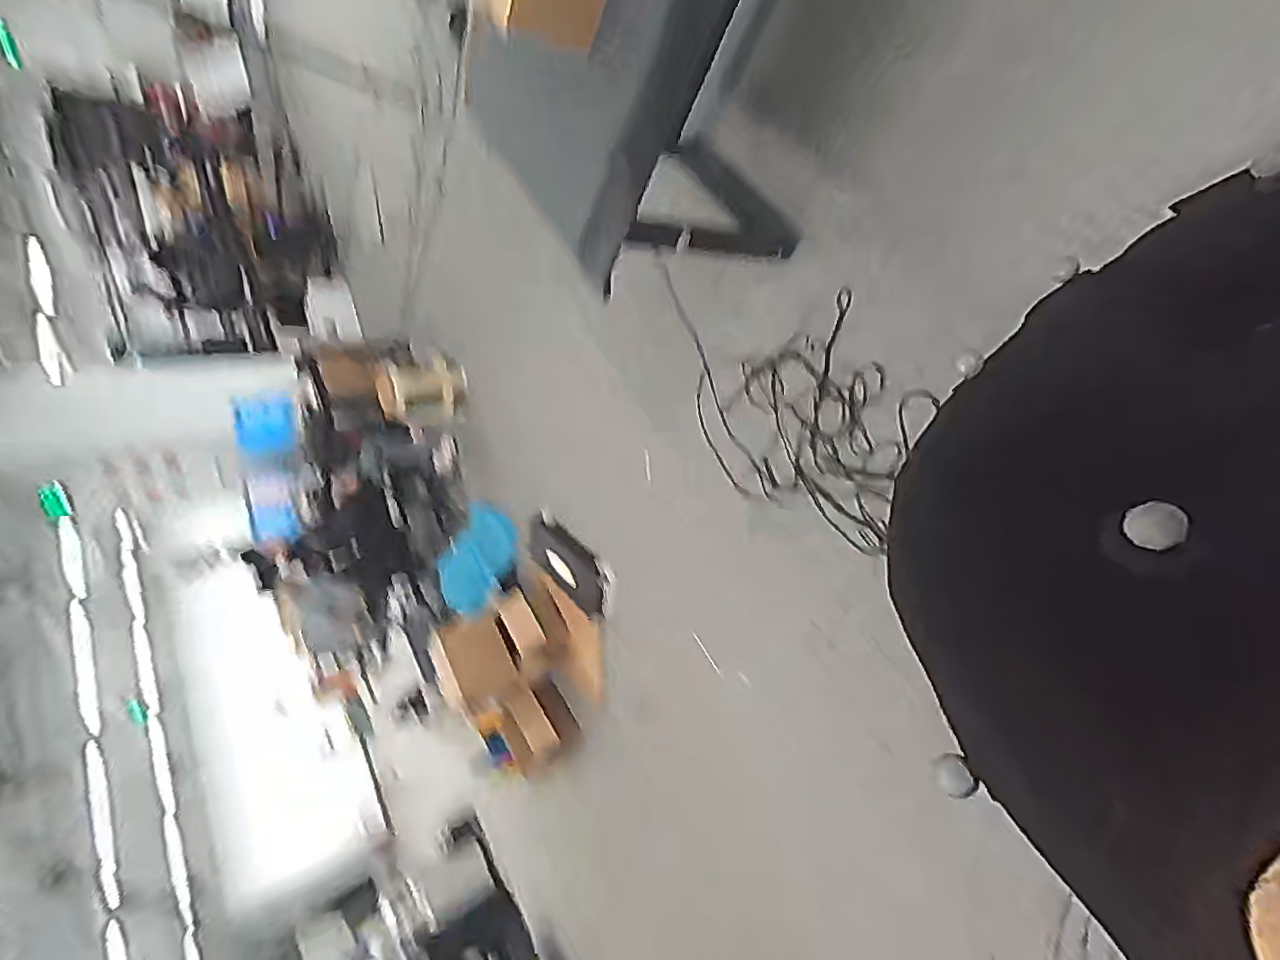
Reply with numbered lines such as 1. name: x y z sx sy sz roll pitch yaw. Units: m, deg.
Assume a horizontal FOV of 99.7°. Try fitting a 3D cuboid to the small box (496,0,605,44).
1. small box: -0.146 -0.864 0.881 0.168 0.176 0.179 59 138 20
